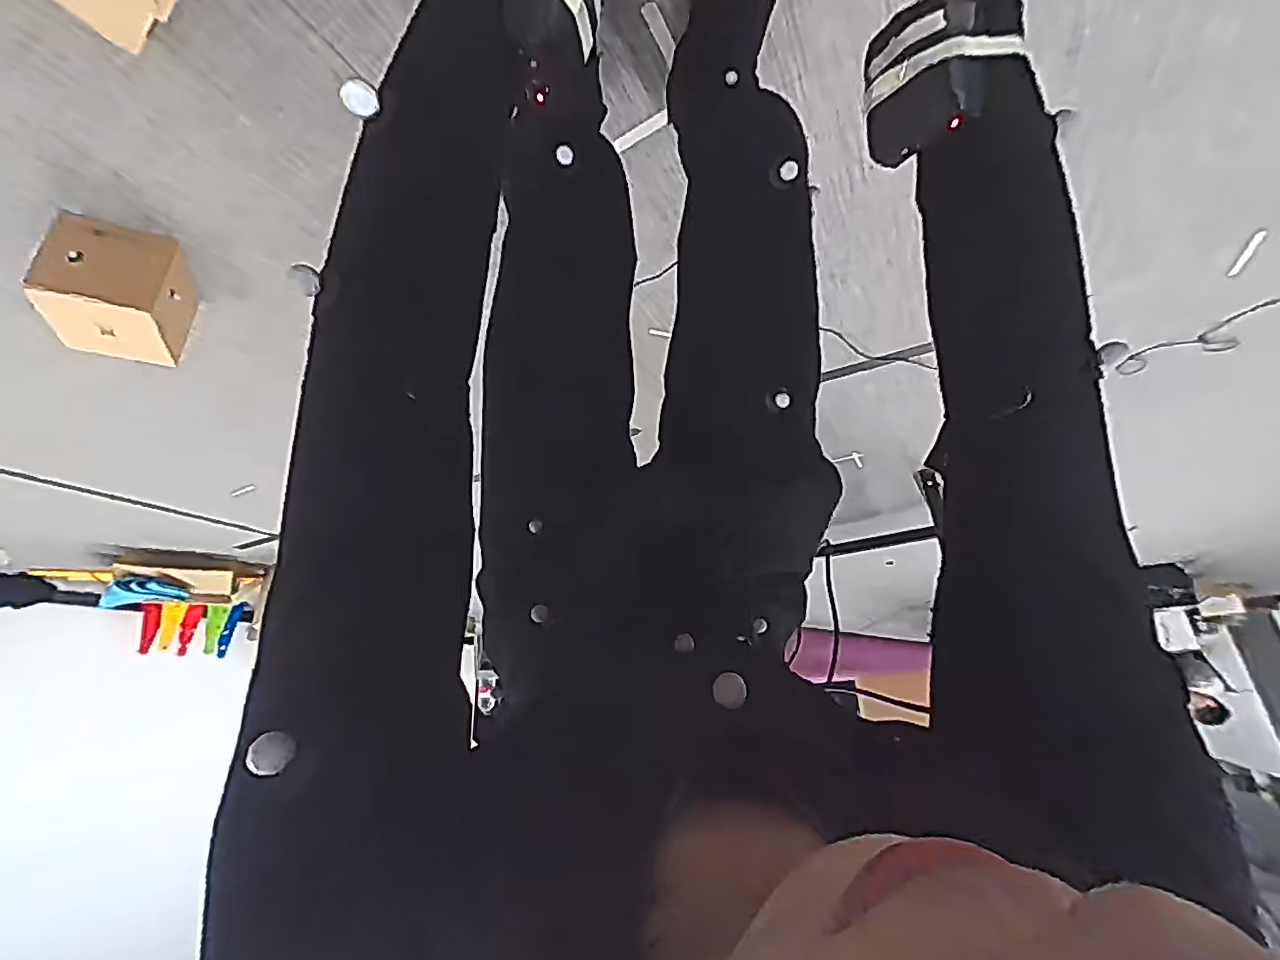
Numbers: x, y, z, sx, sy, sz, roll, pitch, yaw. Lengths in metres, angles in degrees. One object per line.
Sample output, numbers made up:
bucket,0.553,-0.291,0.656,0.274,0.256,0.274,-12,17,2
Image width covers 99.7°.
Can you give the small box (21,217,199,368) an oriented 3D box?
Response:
small box,-0.940,-0.336,0.981,0.168,0.176,0.179,9,154,-23
